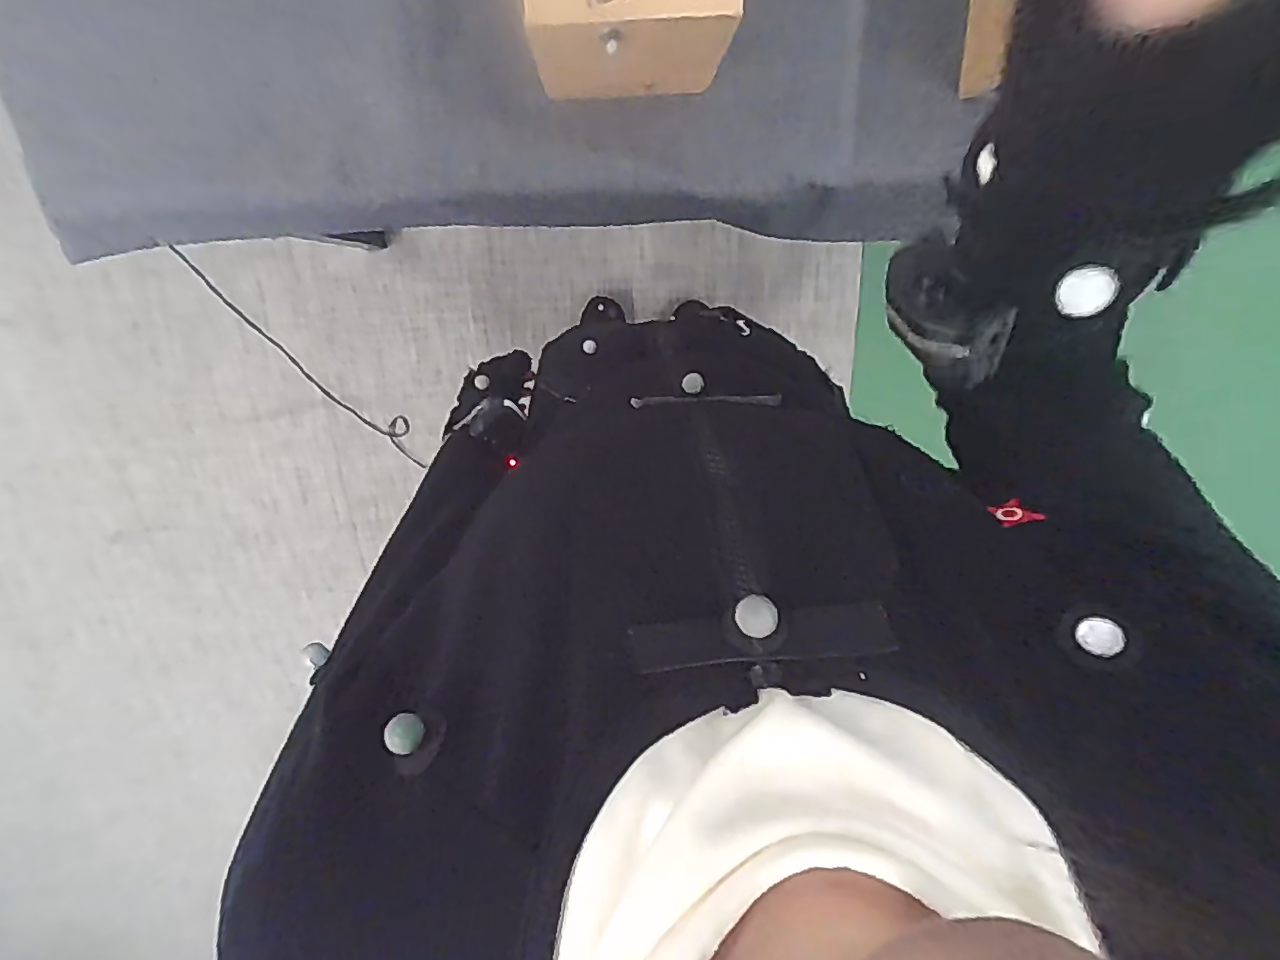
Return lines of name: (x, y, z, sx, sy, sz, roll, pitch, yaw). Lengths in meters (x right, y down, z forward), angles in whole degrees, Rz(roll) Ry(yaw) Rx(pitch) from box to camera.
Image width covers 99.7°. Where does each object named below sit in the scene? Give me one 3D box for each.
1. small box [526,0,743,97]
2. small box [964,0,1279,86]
small box: (-0.012, -0.456, 0.454, 0.168, 0.176, 0.179, -4, 109, -1)
small box: (0.415, -0.468, 0.468, 0.168, 0.176, 0.179, -3, 108, -1)
